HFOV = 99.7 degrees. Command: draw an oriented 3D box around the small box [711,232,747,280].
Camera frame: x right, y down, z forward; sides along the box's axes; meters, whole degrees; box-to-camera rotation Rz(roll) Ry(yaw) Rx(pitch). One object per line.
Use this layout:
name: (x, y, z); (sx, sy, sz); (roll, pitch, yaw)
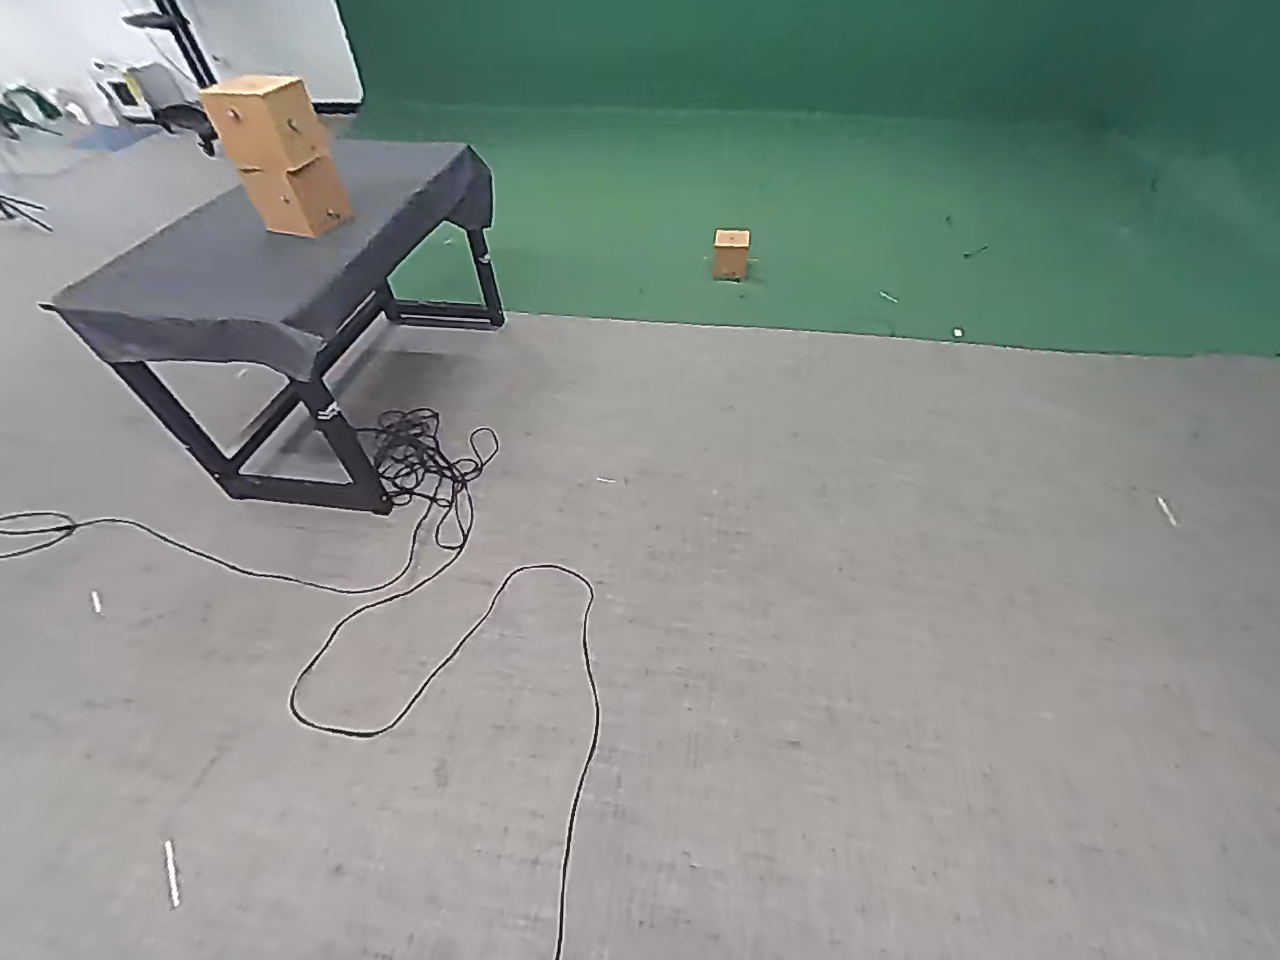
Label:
small box: (0.448, -1.137, 2.743); (0.168, 0.176, 0.179); (5, 49, 7)

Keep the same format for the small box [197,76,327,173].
small box: (-0.944, -0.899, 1.373); (0.179, 0.176, 0.168); (7, 49, 9)
